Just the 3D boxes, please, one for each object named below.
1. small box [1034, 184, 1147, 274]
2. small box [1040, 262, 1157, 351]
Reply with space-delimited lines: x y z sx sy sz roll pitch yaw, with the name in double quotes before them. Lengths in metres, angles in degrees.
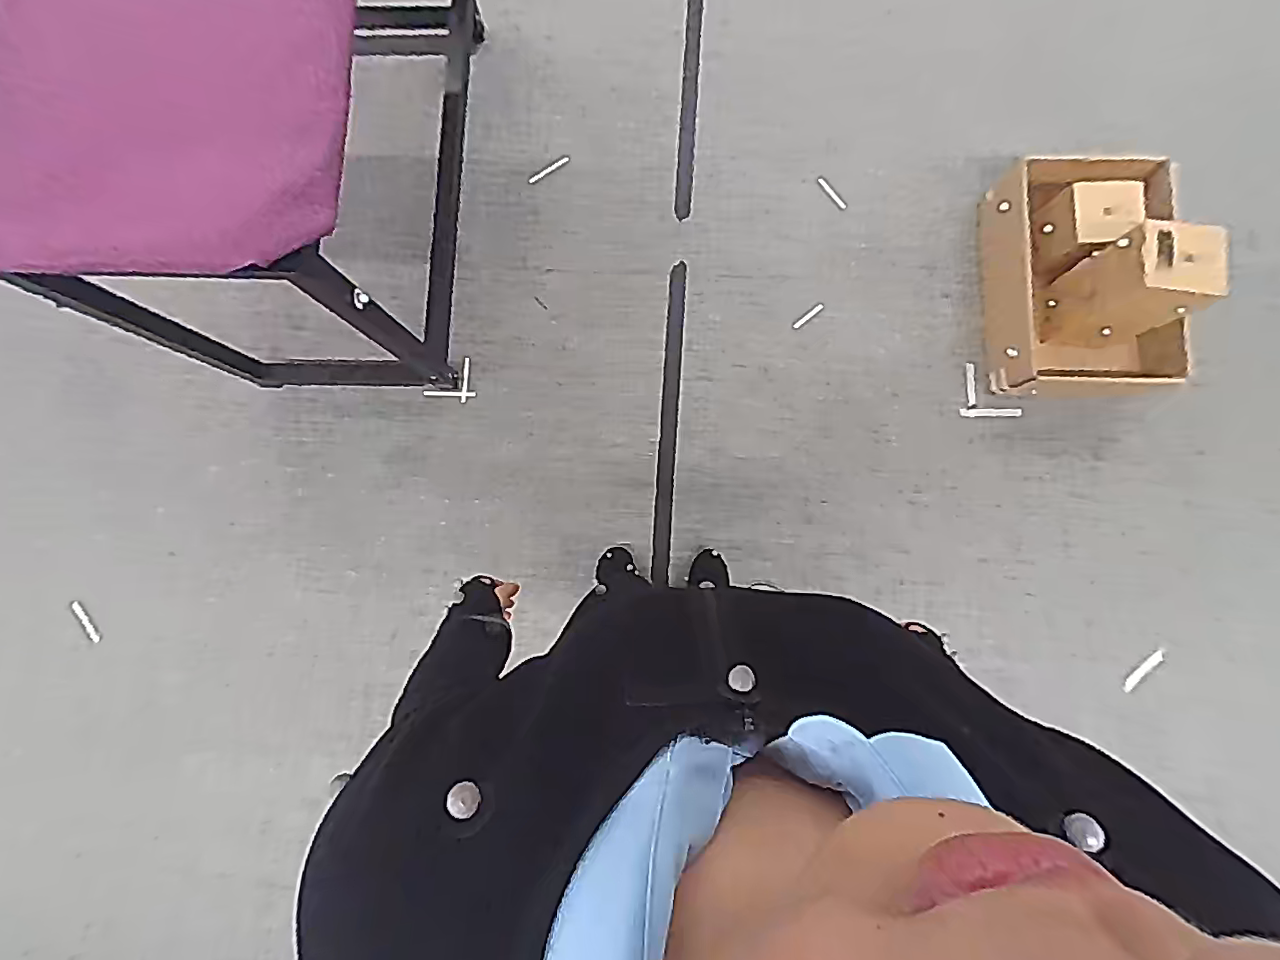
"small box" 1.205 -0.671 1.463 0.179 0.176 0.168 0 85 2
"small box" 1.217 -0.456 1.442 0.179 0.176 0.168 6 82 3
